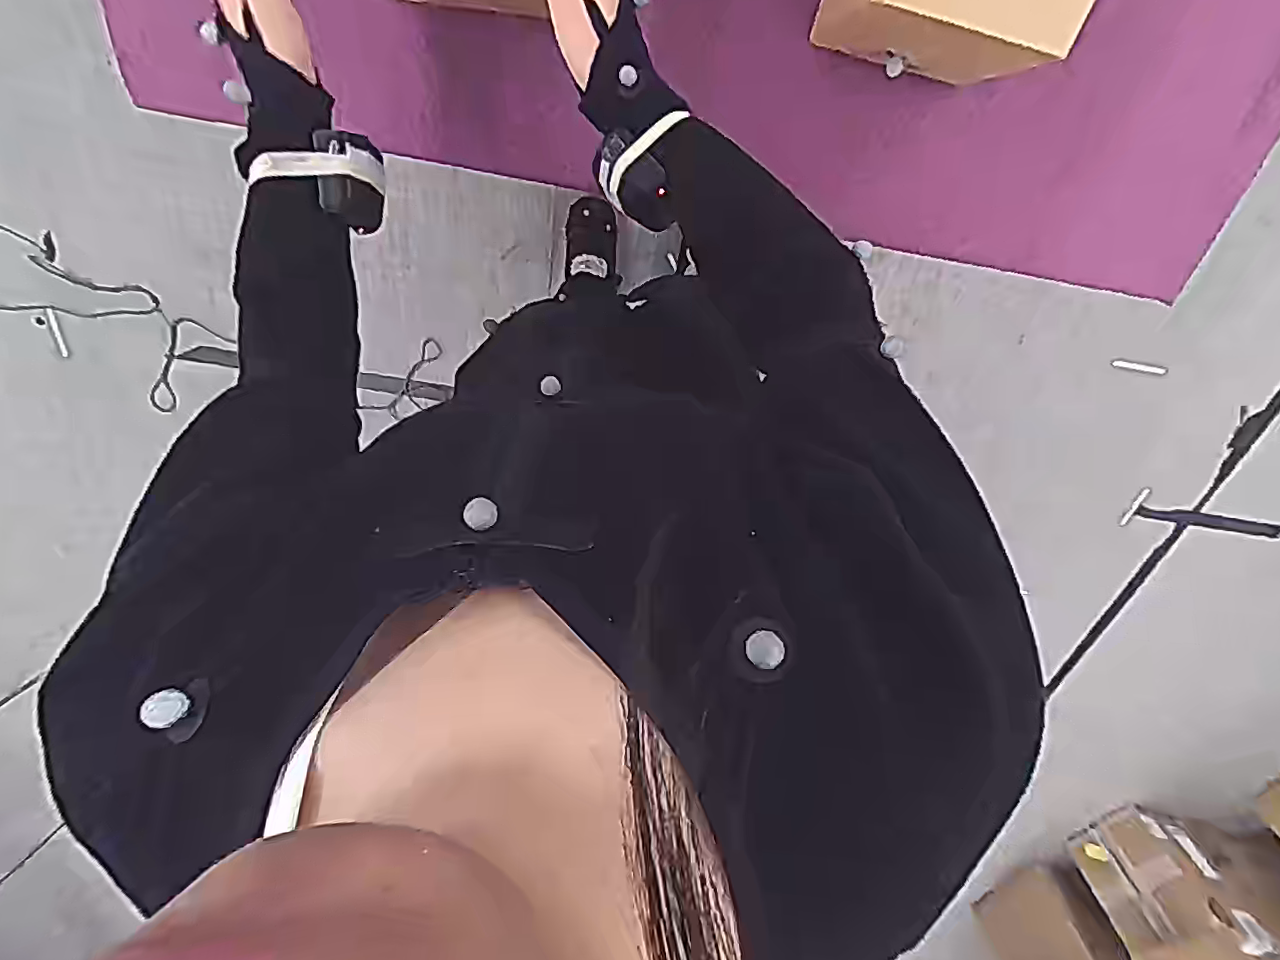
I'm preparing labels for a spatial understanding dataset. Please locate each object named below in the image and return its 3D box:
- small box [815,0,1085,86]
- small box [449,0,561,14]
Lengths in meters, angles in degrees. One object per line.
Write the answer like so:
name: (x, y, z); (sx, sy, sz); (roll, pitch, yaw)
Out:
small box: (0.265, -0.456, 0.442); (0.168, 0.176, 0.179); (11, 120, -6)
small box: (-0.144, -0.493, 0.419); (0.179, 0.176, 0.168); (6, 119, -3)
